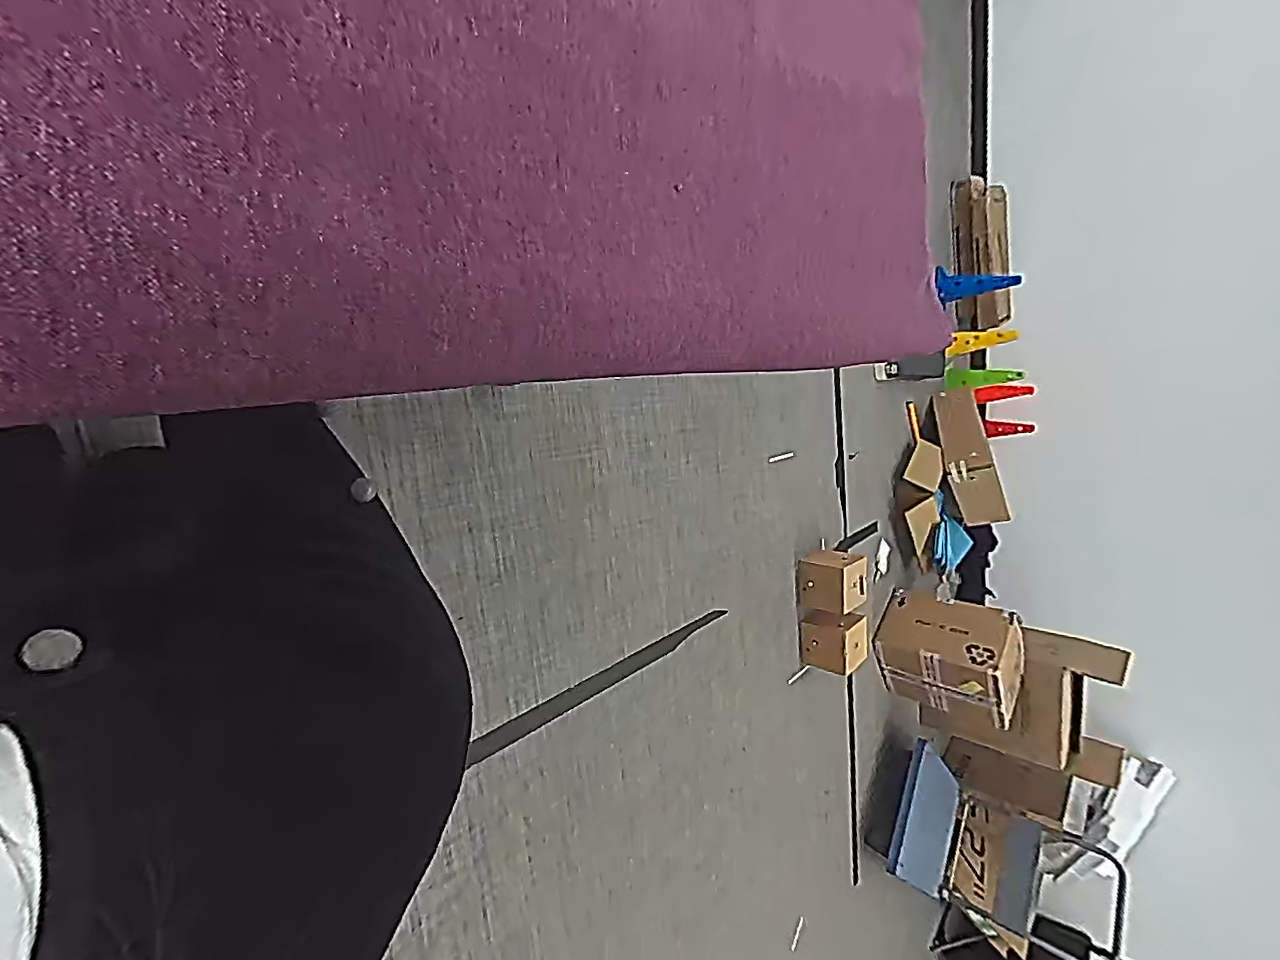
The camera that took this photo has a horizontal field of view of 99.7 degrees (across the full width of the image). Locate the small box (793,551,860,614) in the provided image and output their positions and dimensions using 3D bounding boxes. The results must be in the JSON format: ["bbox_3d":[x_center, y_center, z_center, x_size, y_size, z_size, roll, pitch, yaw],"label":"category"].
[{"bbox_3d":[0.663,0.357,1.919,0.179,0.176,0.168,-11,100,-44],"label":"small box"}]

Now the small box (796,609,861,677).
[{"bbox_3d":[0.683,0.579,1.962,0.179,0.176,0.168,-13,103,-44],"label":"small box"}]
